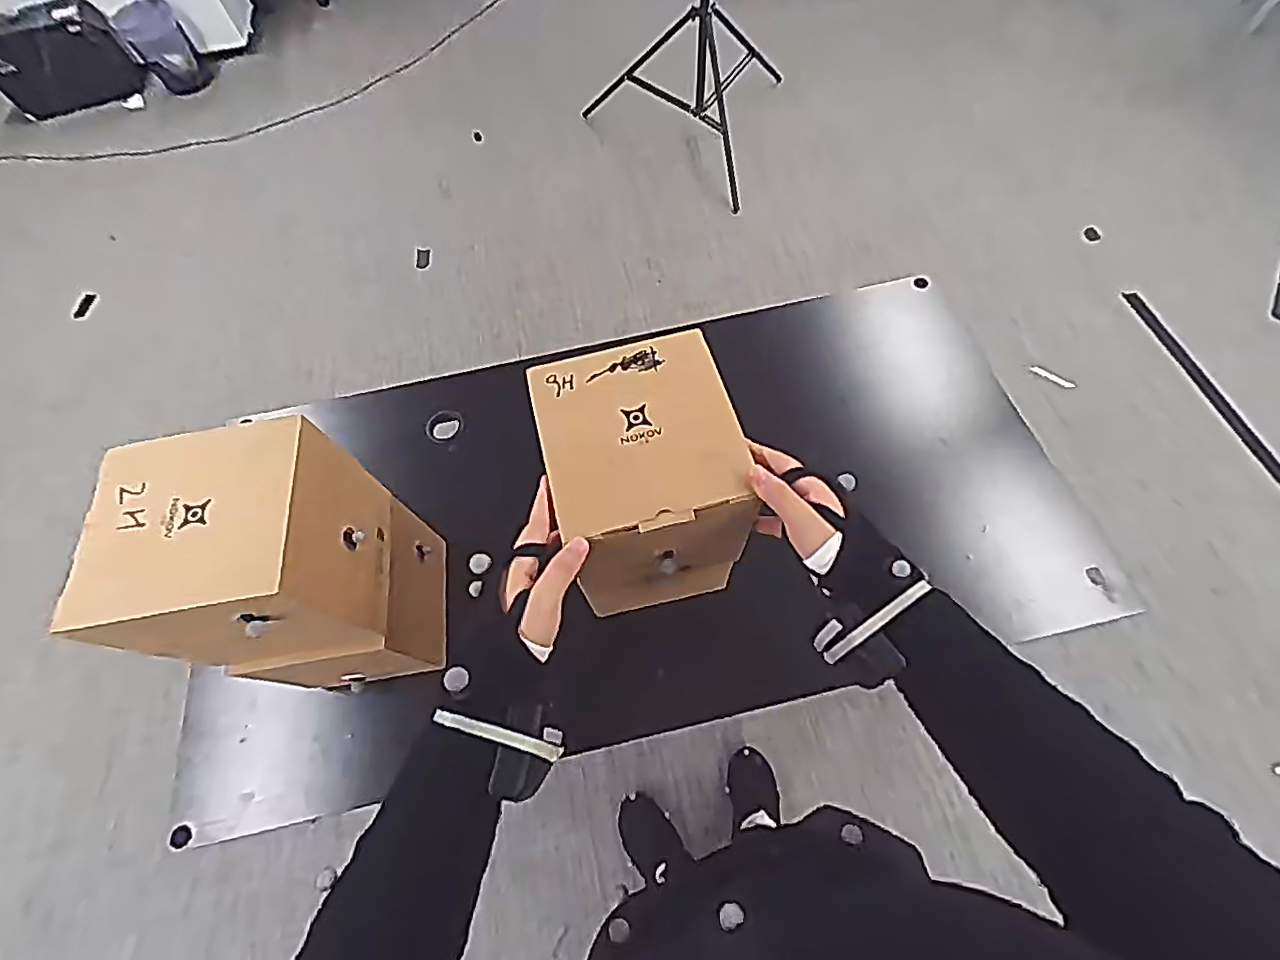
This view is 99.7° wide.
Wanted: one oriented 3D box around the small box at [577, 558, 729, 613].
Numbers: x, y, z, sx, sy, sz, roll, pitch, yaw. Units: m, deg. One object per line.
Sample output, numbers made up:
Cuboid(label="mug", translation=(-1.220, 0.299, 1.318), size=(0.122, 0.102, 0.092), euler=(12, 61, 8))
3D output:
Cuboid(label="small box", translation=(0.010, 0.056, 0.676), size=(0.179, 0.176, 0.168), euler=(-12, 64, -3))

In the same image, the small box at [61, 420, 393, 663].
Cuboid(label="small box", translation=(-0.356, 0.067, 0.512), size=(0.179, 0.176, 0.168), euler=(-10, 63, 0))

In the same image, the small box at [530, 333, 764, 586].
Cuboid(label="small box", translation=(0.005, -0.006, 0.524), size=(0.168, 0.176, 0.179), euler=(-14, 66, -4))

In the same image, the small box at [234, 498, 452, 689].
Cuboid(label="small box", translation=(-0.340, 0.144, 0.658), size=(0.168, 0.176, 0.179), euler=(-10, 65, 0))
